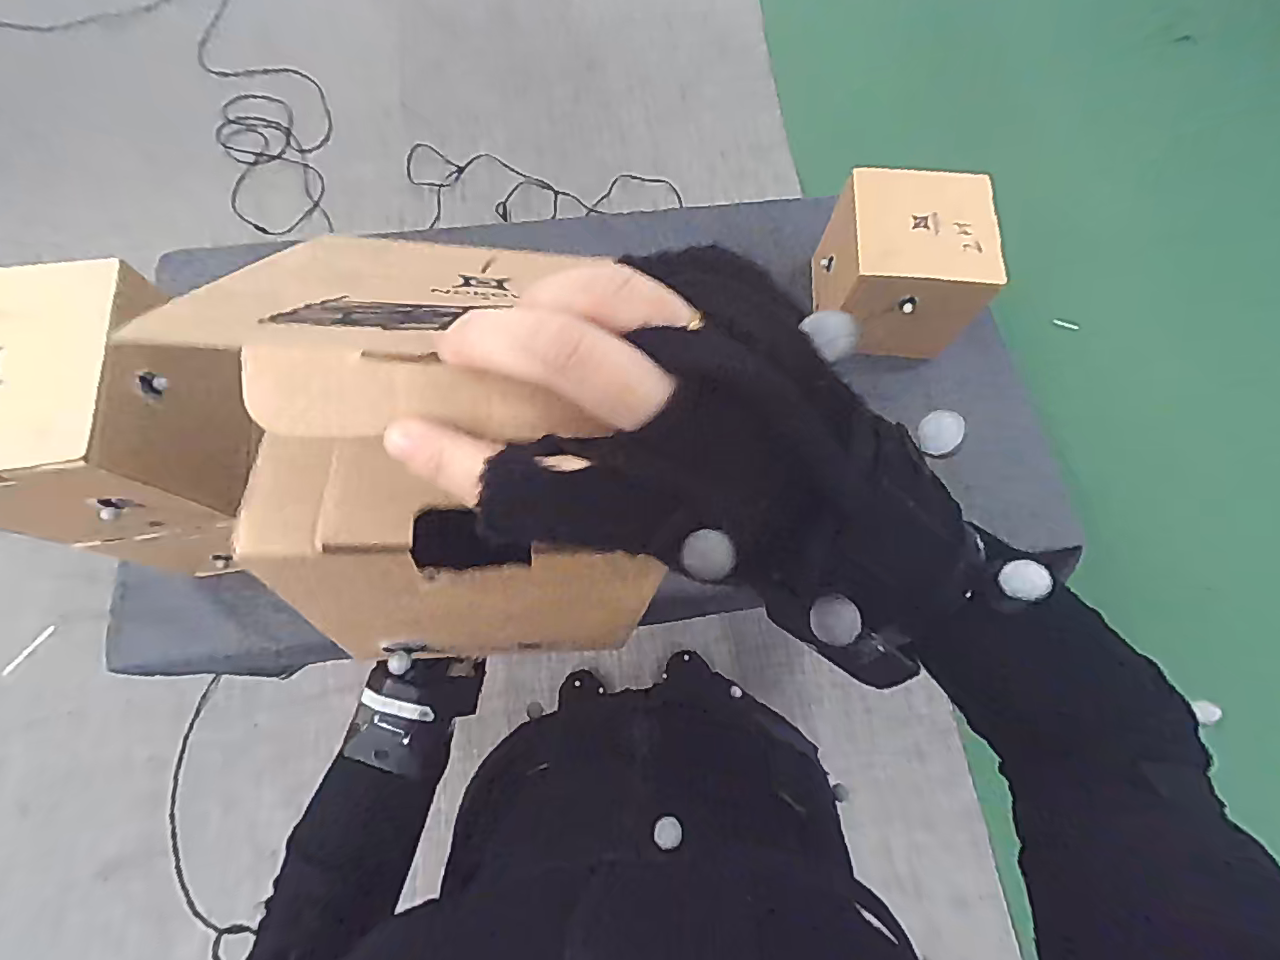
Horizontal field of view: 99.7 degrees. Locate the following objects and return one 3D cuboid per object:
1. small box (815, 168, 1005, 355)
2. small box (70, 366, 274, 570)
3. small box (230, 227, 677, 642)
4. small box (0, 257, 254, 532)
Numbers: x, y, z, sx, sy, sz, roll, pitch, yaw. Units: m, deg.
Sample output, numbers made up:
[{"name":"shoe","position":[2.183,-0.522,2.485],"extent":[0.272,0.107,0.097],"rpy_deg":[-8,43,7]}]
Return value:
[{"name":"small box","position":[0.344,-0.284,0.729],"extent":[0.179,0.176,0.168],"rpy_deg":[5,72,0]},{"name":"small box","position":[-0.475,-0.006,0.620],"extent":[0.168,0.176,0.179],"rpy_deg":[-9,72,-5]},{"name":"small box","position":[-0.082,-0.013,0.311],"extent":[0.168,0.176,0.179],"rpy_deg":[0,57,-11]},{"name":"small box","position":[-0.471,-0.059,0.466],"extent":[0.168,0.176,0.179],"rpy_deg":[-7,72,-5]}]
